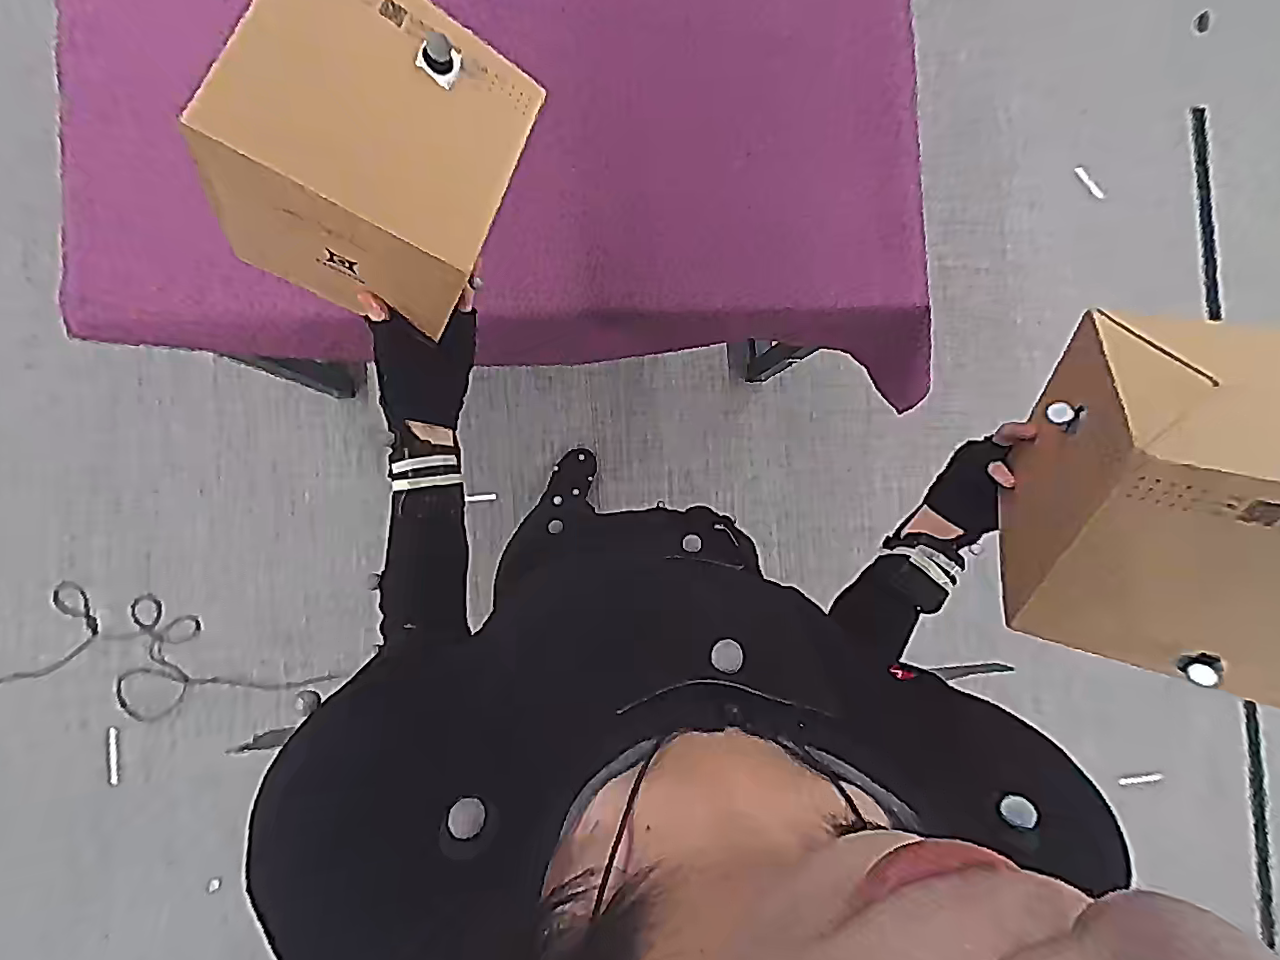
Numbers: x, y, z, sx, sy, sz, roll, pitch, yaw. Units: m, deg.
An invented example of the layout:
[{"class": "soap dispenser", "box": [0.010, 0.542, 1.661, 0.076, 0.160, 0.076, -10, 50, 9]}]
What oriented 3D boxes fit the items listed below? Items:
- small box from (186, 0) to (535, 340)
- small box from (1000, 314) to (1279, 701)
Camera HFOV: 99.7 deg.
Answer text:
[{"class": "small box", "box": [-0.199, -0.245, 0.425, 0.168, 0.179, 0.176, 22, 75, -23]}, {"class": "small box", "box": [0.360, 0.004, 0.350, 0.168, 0.176, 0.179, 15, 47, 20]}]
